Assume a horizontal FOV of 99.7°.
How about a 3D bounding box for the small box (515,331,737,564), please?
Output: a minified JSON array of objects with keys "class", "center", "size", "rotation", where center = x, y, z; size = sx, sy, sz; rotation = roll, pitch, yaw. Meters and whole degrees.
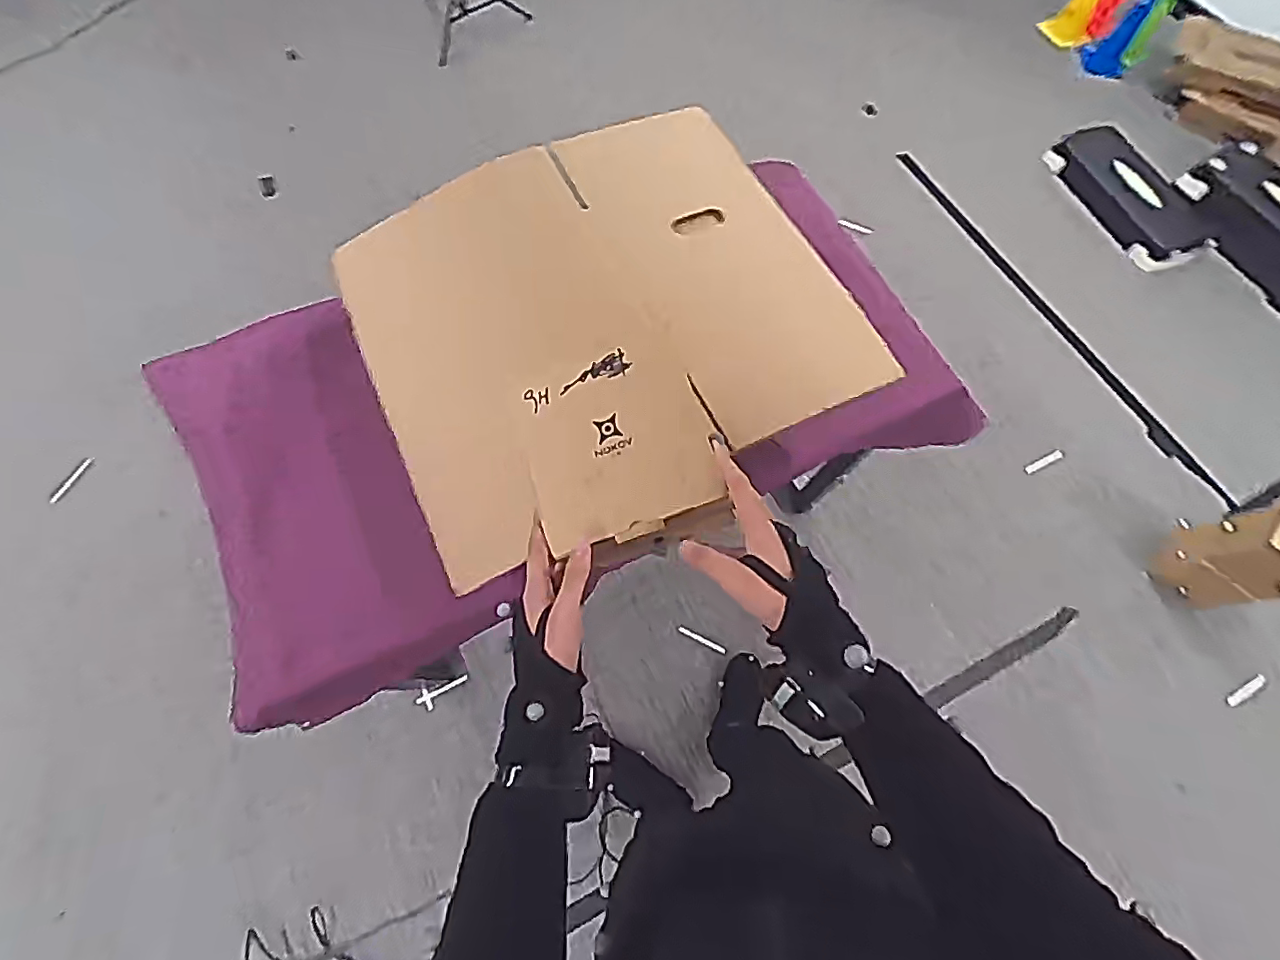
[{"class":"small box","center":[-0.003,-0.018,0.563],"size":[0.168,0.176,0.179],"rotation":[-19,76,8]}]
